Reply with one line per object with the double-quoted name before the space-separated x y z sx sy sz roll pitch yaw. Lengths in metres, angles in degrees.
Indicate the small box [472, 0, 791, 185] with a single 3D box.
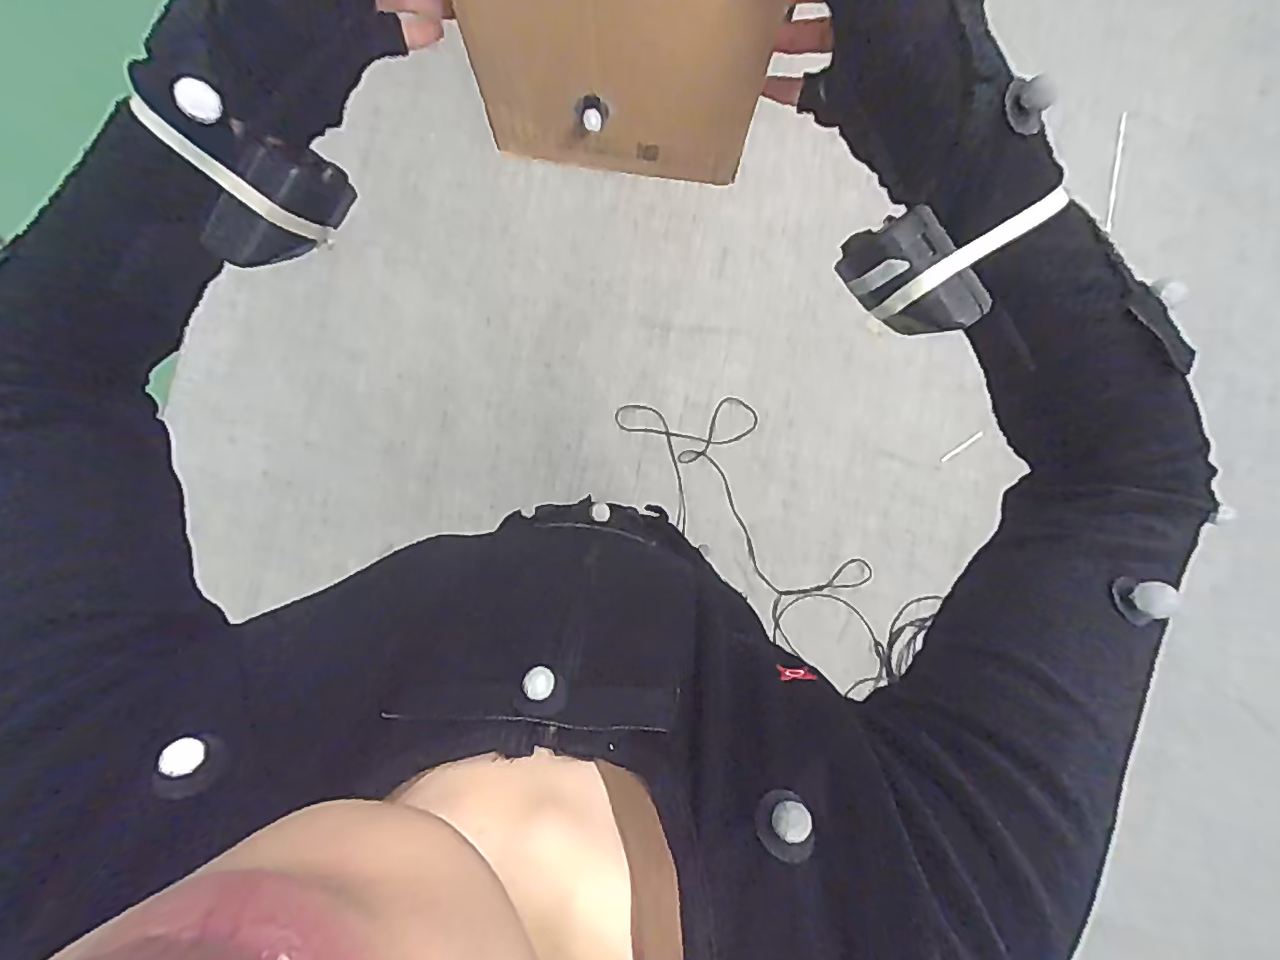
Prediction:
"small box" -0.002 -0.311 0.311 0.168 0.176 0.179 7 85 -1
